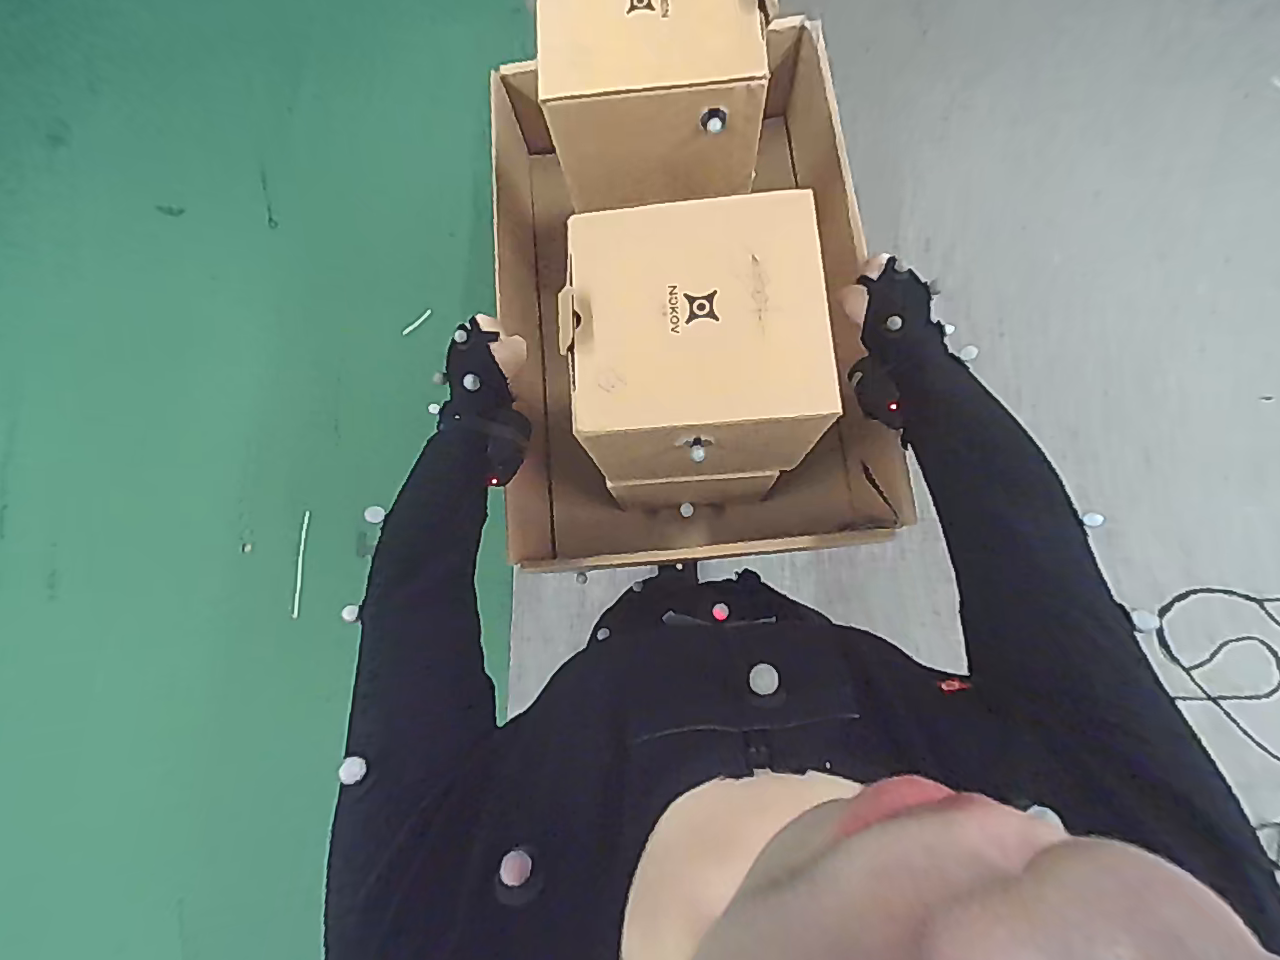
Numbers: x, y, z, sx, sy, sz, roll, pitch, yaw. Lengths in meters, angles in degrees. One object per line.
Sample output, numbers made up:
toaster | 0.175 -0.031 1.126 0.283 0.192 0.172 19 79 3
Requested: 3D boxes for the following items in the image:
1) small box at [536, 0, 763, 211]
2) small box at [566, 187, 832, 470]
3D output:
small box | 0.010 -0.364 0.502 0.179 0.176 0.168 -3 80 3
small box | 0.043 -0.107 0.451 0.179 0.176 0.168 -4 80 3
